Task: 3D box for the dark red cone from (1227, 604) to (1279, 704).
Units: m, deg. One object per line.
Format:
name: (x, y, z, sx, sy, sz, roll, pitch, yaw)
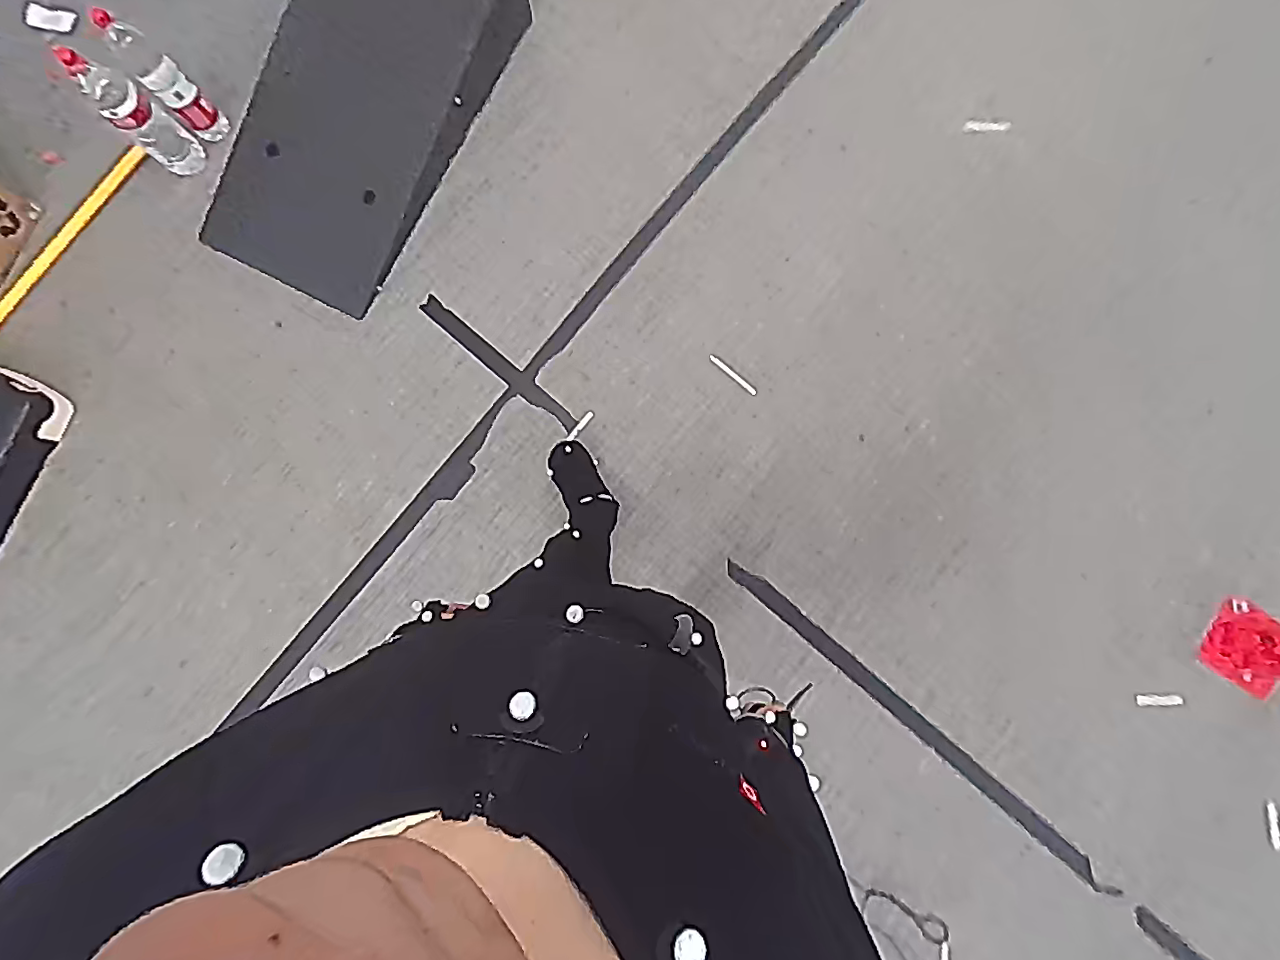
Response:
dark red cone: (1.556, 0.417, 1.157, 0.202, 0.394, 0.201, 33, 86, 2)
